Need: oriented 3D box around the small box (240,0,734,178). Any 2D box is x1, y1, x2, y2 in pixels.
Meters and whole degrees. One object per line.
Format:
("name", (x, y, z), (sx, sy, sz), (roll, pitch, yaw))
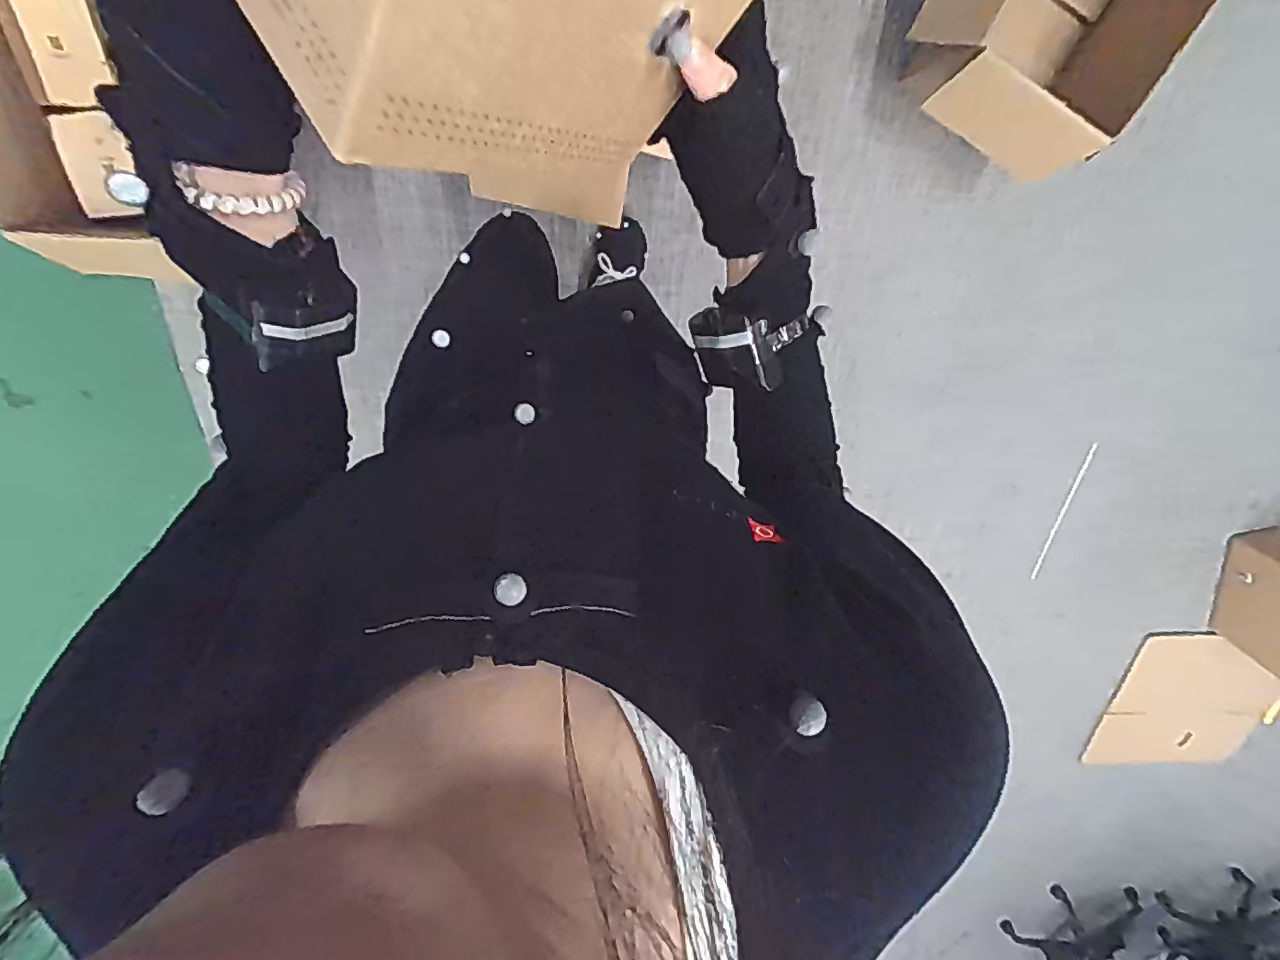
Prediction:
("small box", (-0.063, -0.258, 0.224), (0.176, 0.179, 0.168), (-38, 83, 44))
